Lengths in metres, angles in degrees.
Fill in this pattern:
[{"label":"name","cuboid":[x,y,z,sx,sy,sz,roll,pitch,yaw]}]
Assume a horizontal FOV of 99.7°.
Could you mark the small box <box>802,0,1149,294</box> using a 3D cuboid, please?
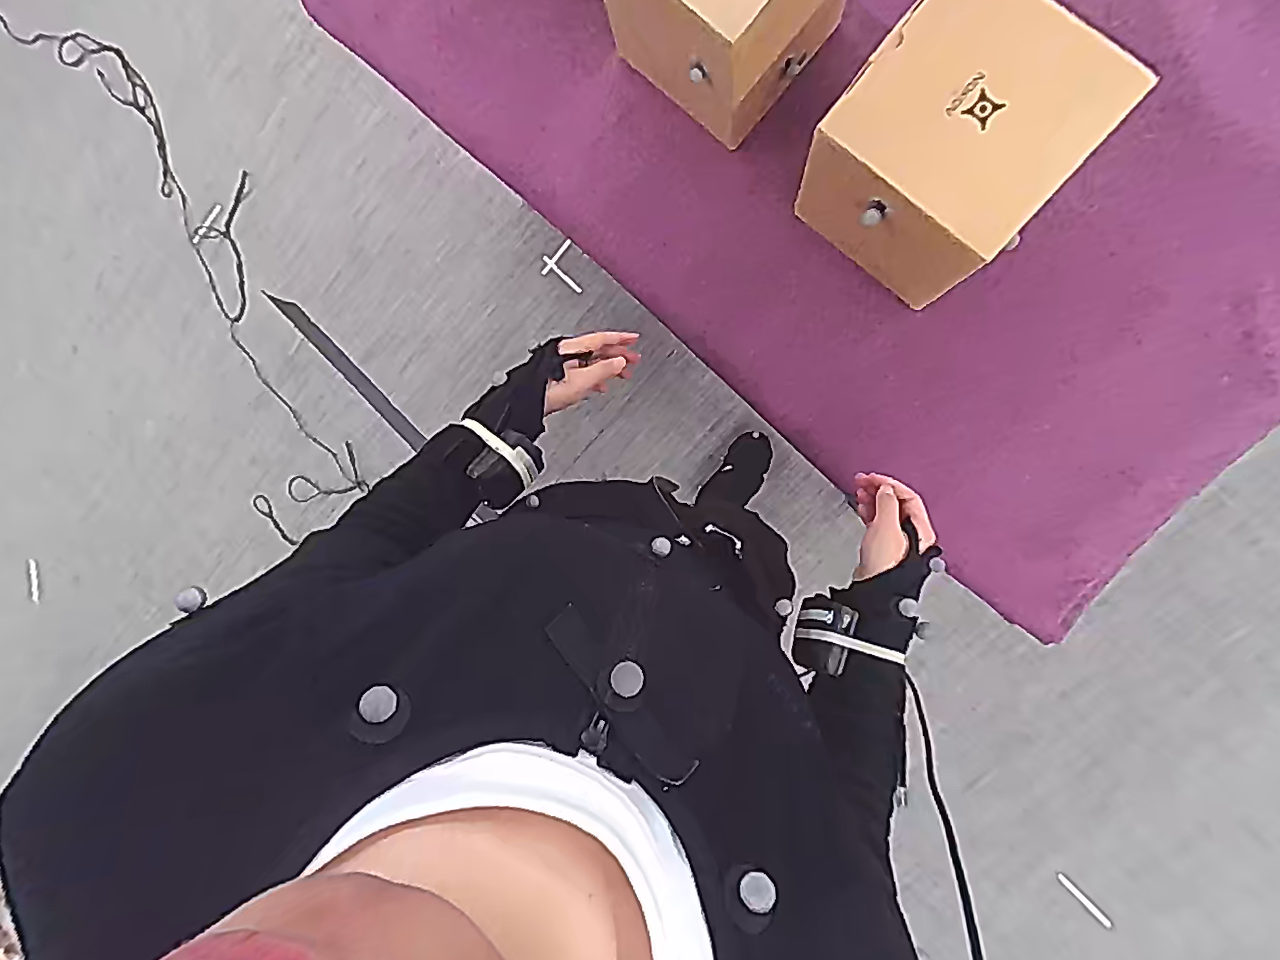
[{"label":"small box","cuboid":[0.273,-0.294,0.494,0.179,0.176,0.168,42,100,6]}]
